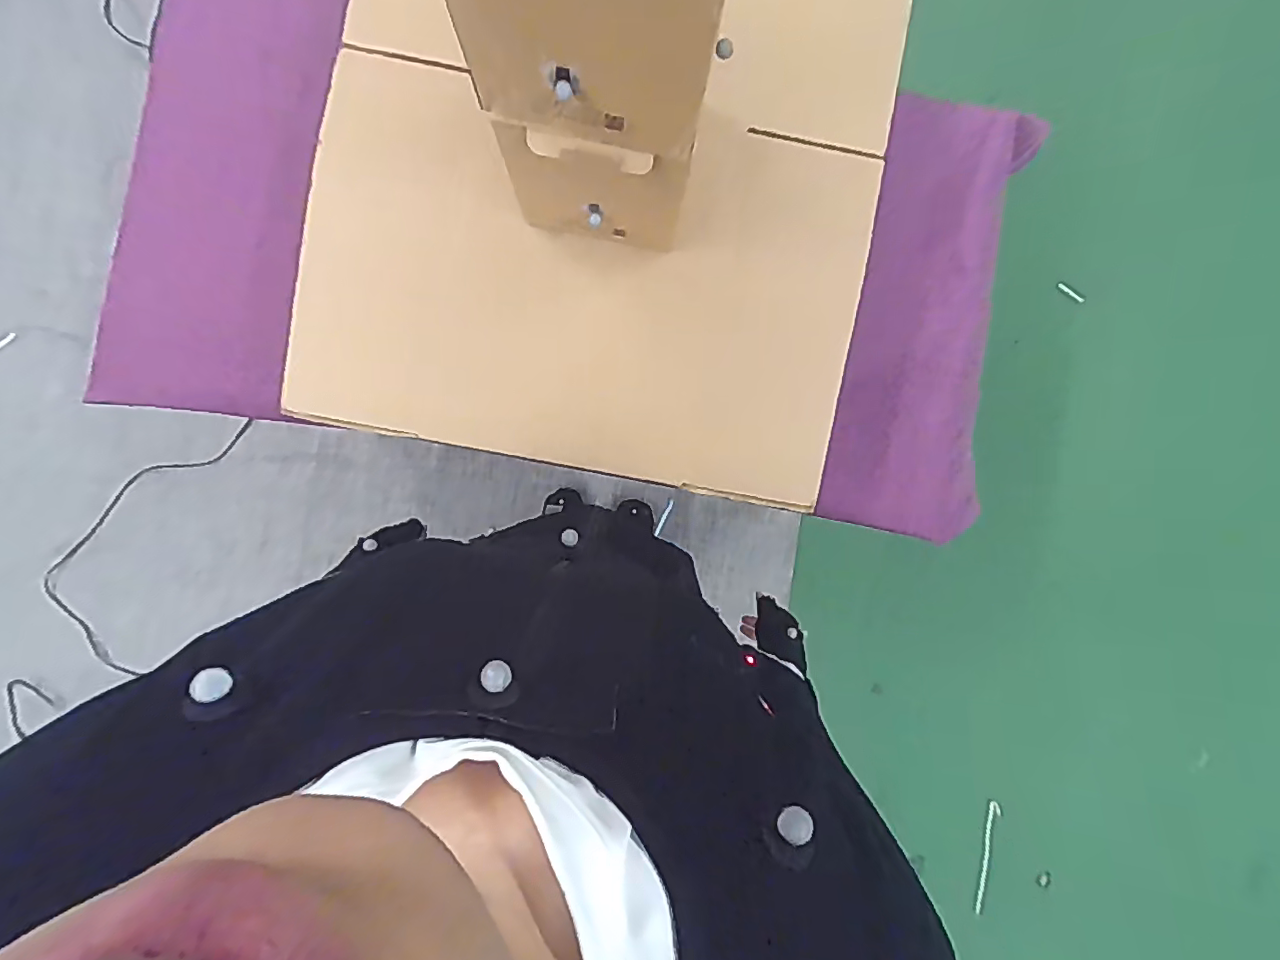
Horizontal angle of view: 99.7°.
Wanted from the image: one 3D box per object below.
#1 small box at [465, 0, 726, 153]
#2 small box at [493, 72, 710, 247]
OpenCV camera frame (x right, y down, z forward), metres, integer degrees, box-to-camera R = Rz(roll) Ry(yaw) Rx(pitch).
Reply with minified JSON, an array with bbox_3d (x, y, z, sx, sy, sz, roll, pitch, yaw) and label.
[{"bbox_3d":[-0.020,-0.359,0.349,0.168,0.176,0.179,11,88,-2],"label":"small box"},{"bbox_3d":[-0.025,-0.355,0.512,0.168,0.176,0.179,11,88,-1],"label":"small box"}]
